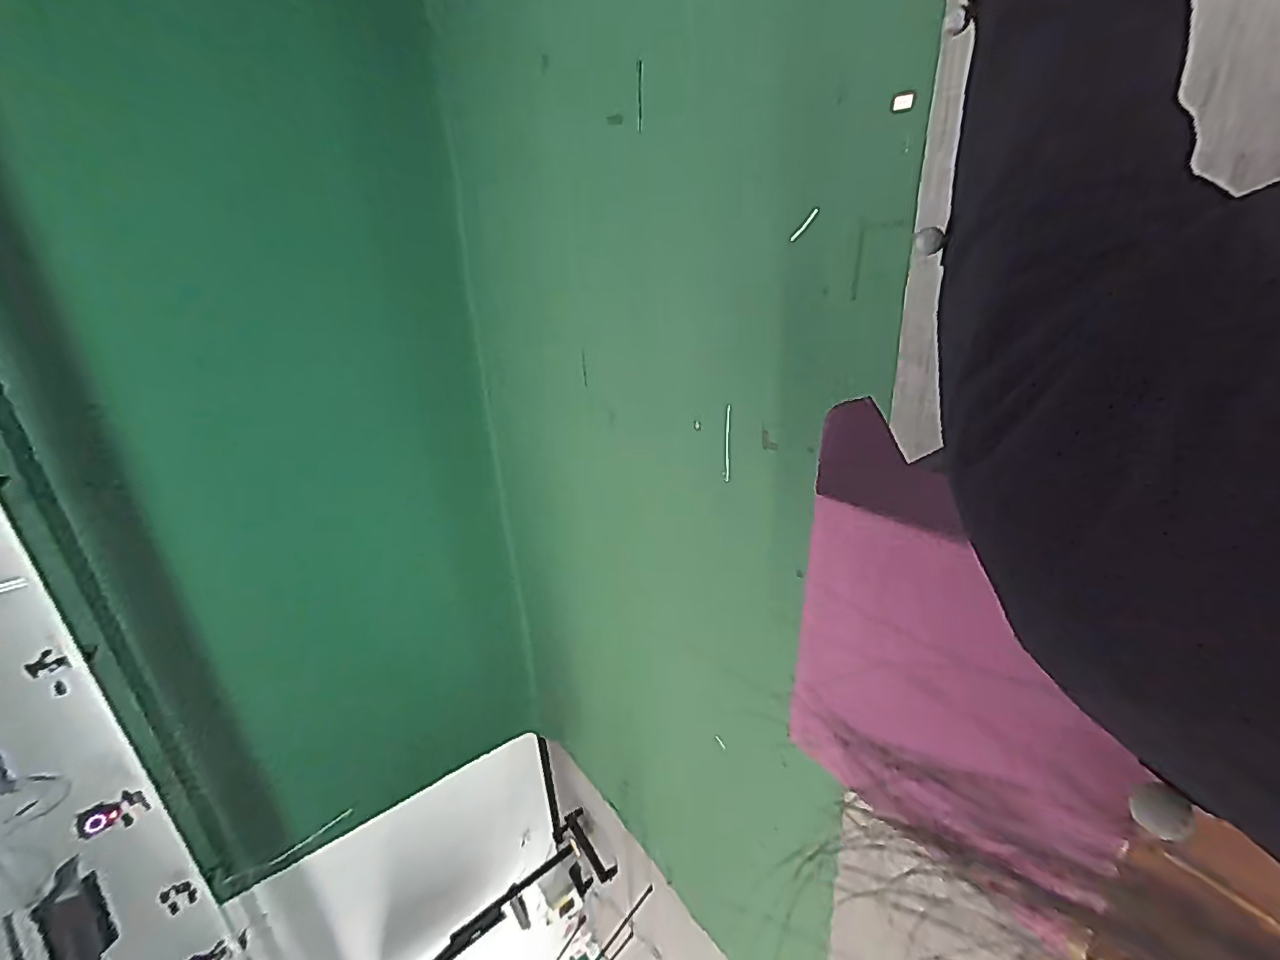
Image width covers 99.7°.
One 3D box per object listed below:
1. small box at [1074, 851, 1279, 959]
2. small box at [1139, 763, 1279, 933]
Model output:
[{"bbox_3d":[0.503,0.489,0.476,0.179,0.176,0.168,28,128,46],"label":"small box"},{"bbox_3d":[0.635,0.445,0.560,0.168,0.176,0.179,29,128,45],"label":"small box"}]
